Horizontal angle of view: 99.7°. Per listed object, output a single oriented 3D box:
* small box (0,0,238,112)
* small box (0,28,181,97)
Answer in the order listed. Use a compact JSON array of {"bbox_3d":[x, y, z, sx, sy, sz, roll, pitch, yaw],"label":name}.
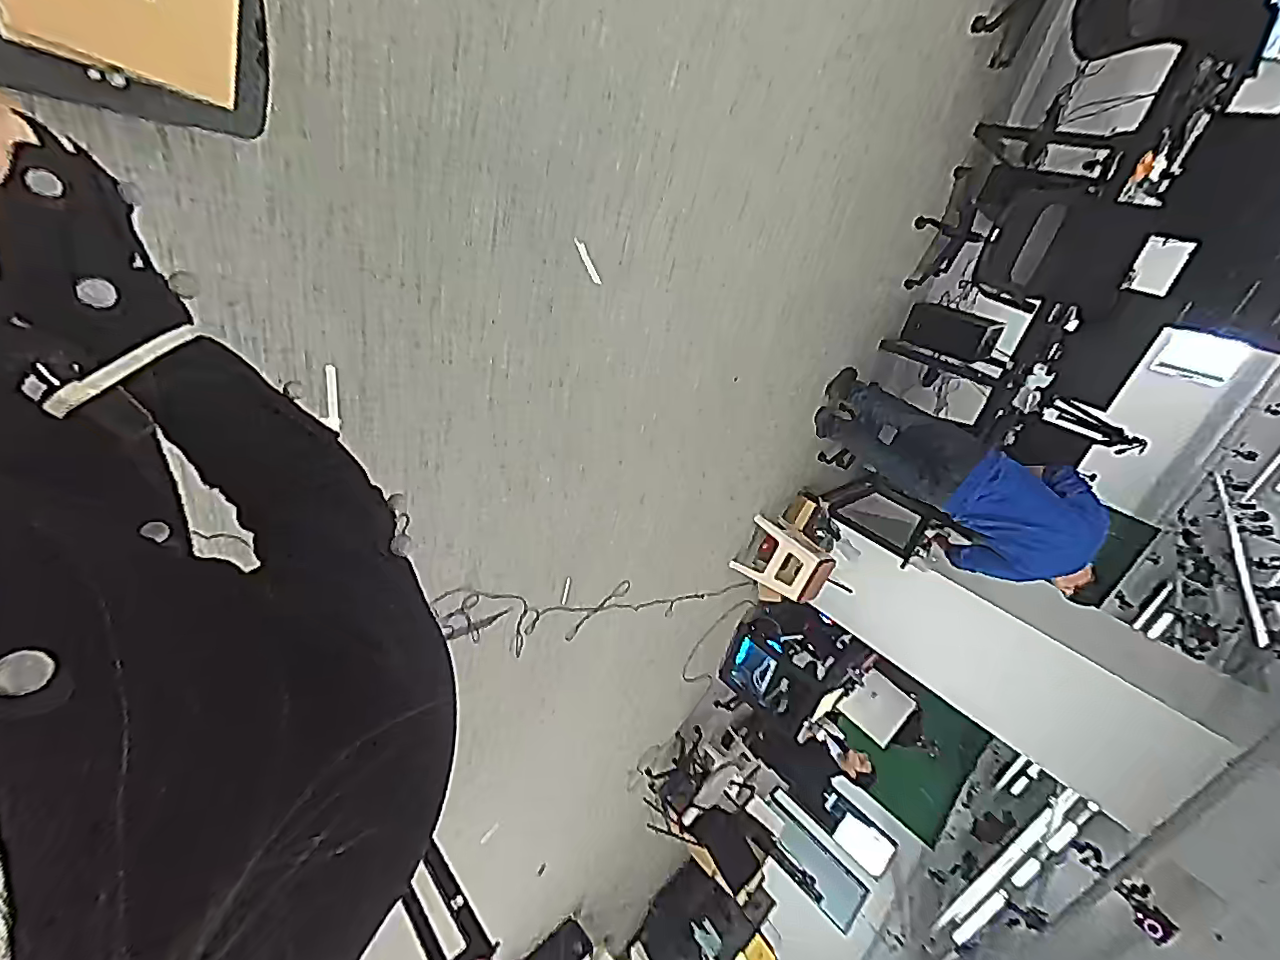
[{"bbox_3d":[-0.555,-0.527,0.573,0.179,0.176,0.168,-4,122,-48],"label":"small box"},{"bbox_3d":[-0.674,-0.602,0.656,0.168,0.176,0.179,-9,125,-47],"label":"small box"}]
